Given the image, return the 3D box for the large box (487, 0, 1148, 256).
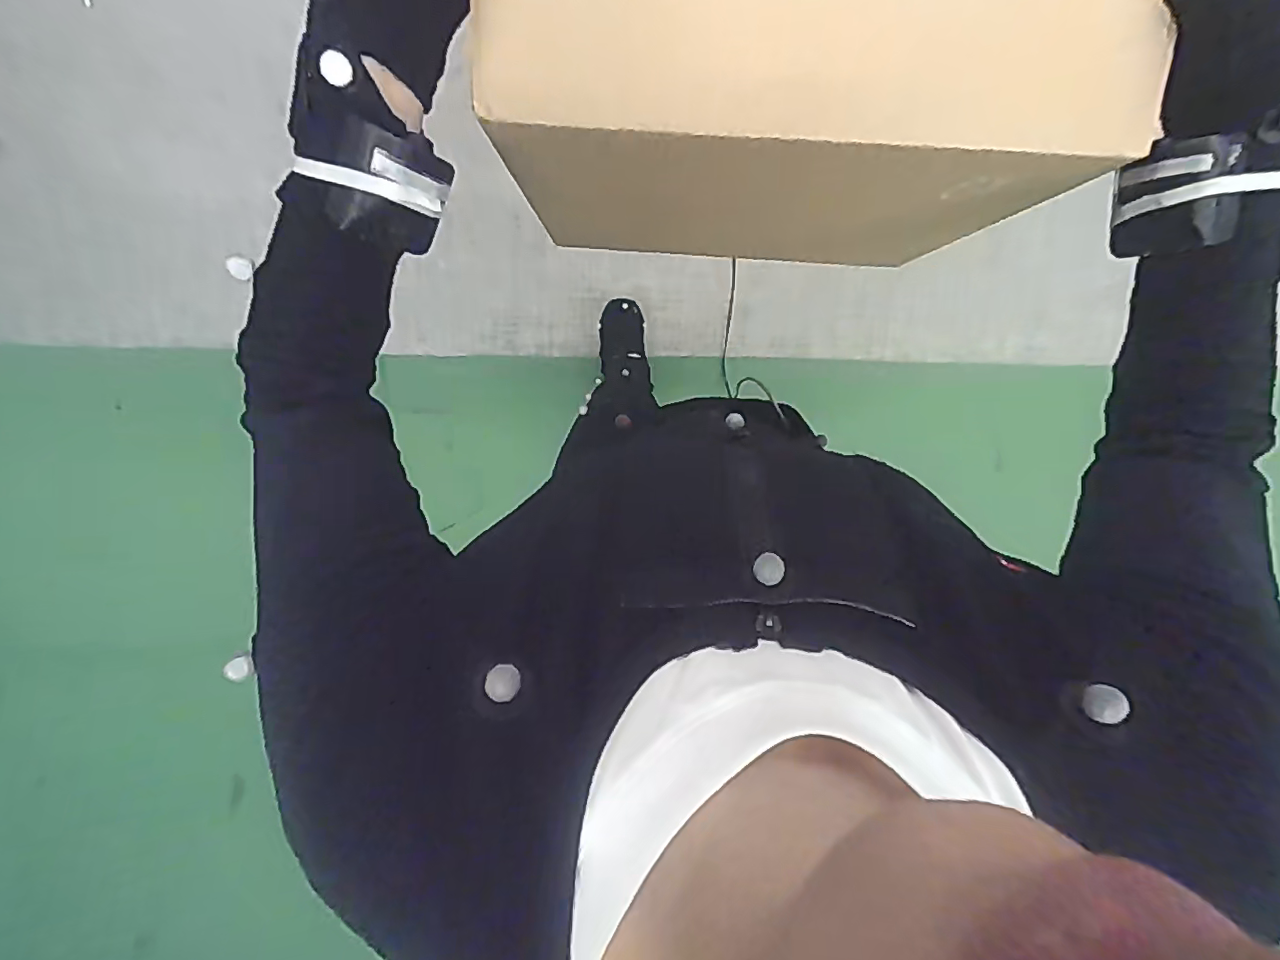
[{"bbox_3d":[0.107,-0.390,0.457,0.408,0.320,0.320,3,101,0],"label":"large box"}]
